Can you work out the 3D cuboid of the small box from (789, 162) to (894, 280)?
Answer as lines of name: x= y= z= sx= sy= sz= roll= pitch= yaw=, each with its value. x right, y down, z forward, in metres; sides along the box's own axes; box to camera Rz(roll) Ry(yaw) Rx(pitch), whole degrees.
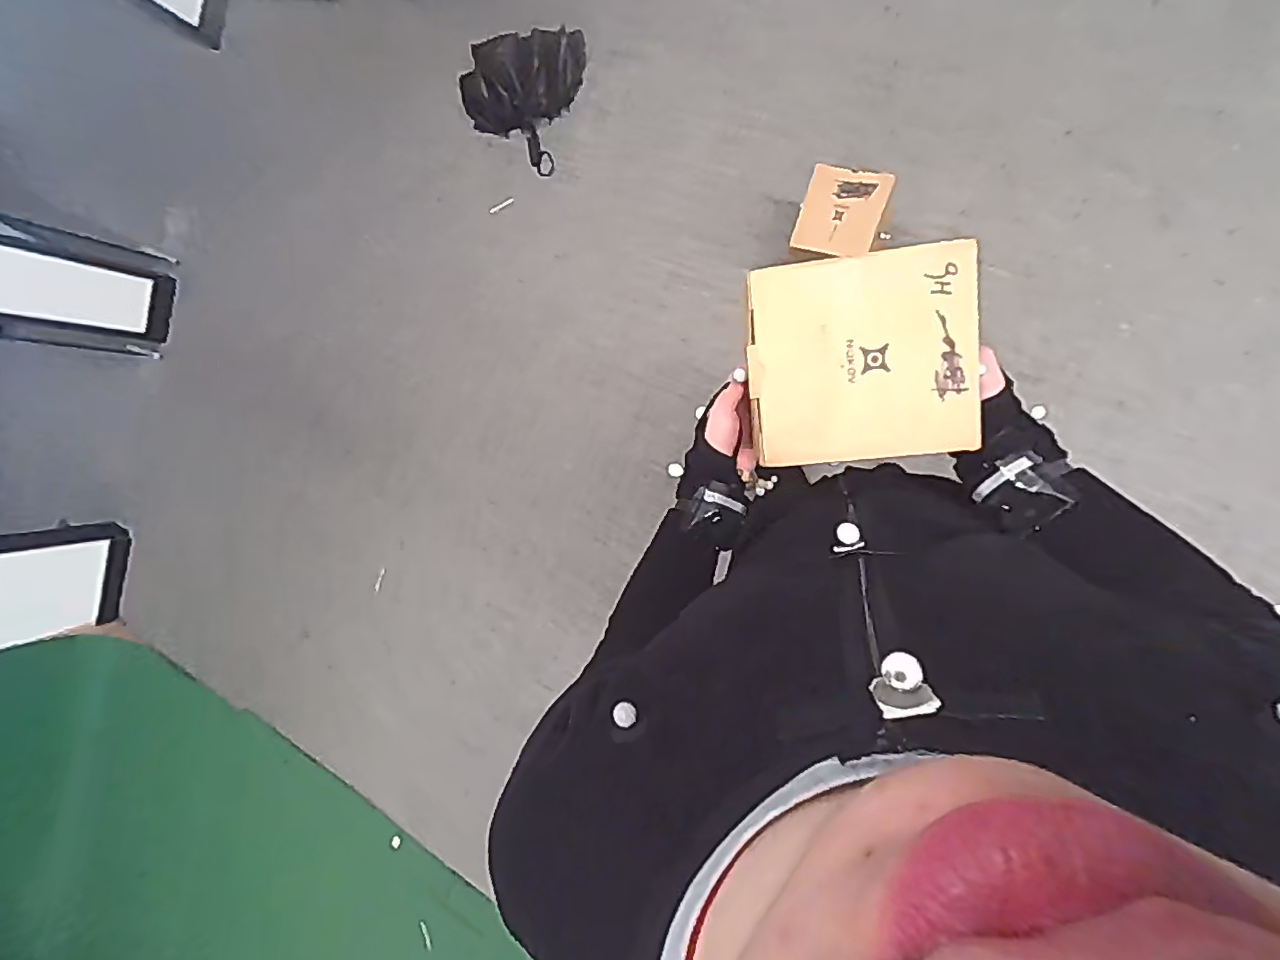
small box: x=0.447 y=-0.572 z=1.210 sx=0.168 sy=0.176 sz=0.179 roll=21 pitch=101 yaw=19

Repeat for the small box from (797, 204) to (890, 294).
small box: x=0.510 y=-0.589 z=1.361 sx=0.168 sy=0.176 sz=0.179 roll=21 pitch=102 yaw=19
